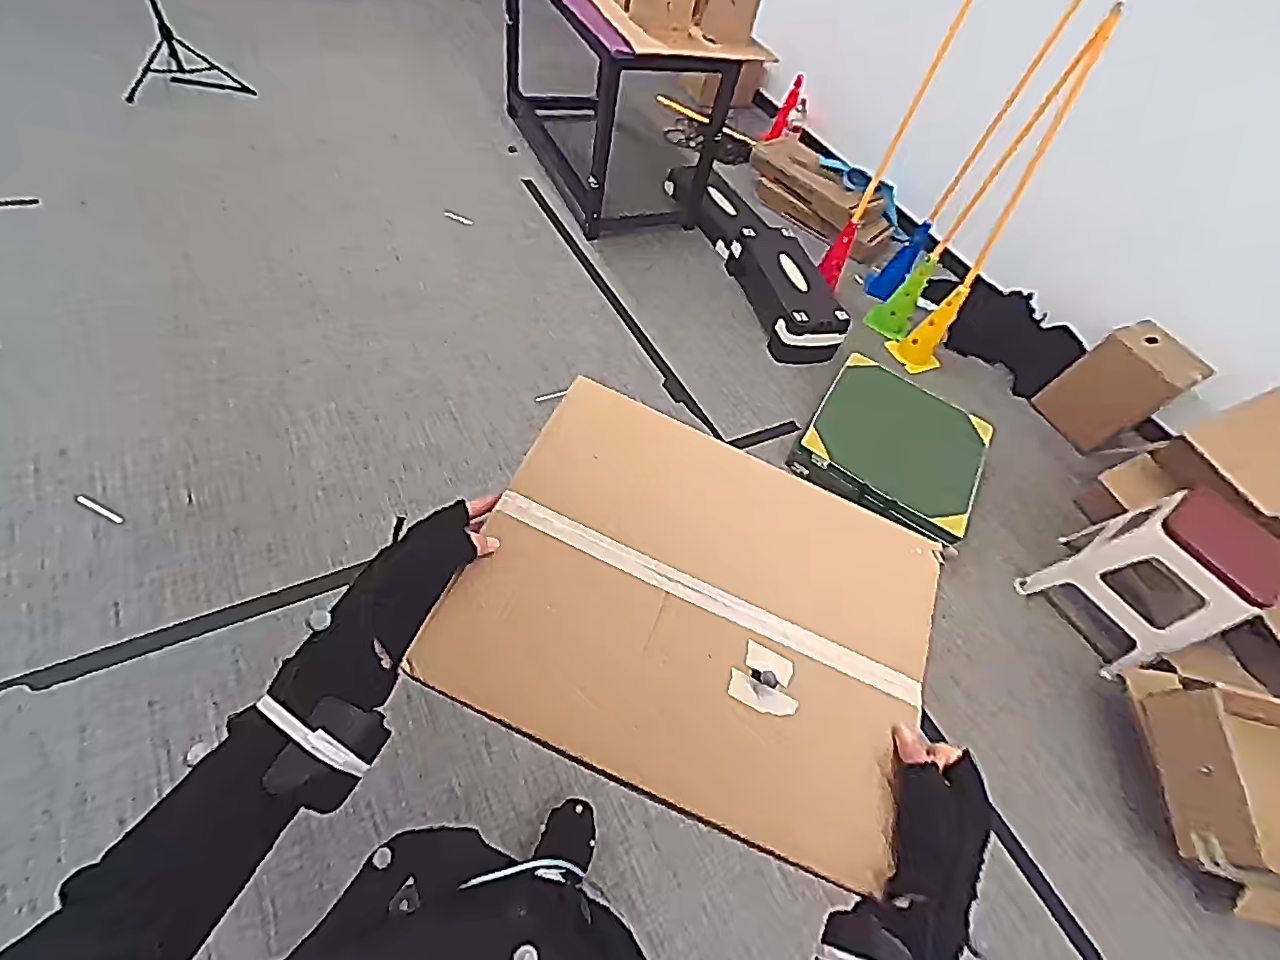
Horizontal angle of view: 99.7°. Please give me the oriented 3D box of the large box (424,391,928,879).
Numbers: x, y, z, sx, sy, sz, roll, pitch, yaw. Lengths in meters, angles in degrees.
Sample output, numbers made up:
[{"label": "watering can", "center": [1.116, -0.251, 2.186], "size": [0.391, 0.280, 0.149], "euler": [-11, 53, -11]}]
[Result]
[{"label": "large box", "center": [0.033, 0.171, 0.621], "size": [0.408, 0.320, 0.320], "euler": [26, 63, 0]}]
